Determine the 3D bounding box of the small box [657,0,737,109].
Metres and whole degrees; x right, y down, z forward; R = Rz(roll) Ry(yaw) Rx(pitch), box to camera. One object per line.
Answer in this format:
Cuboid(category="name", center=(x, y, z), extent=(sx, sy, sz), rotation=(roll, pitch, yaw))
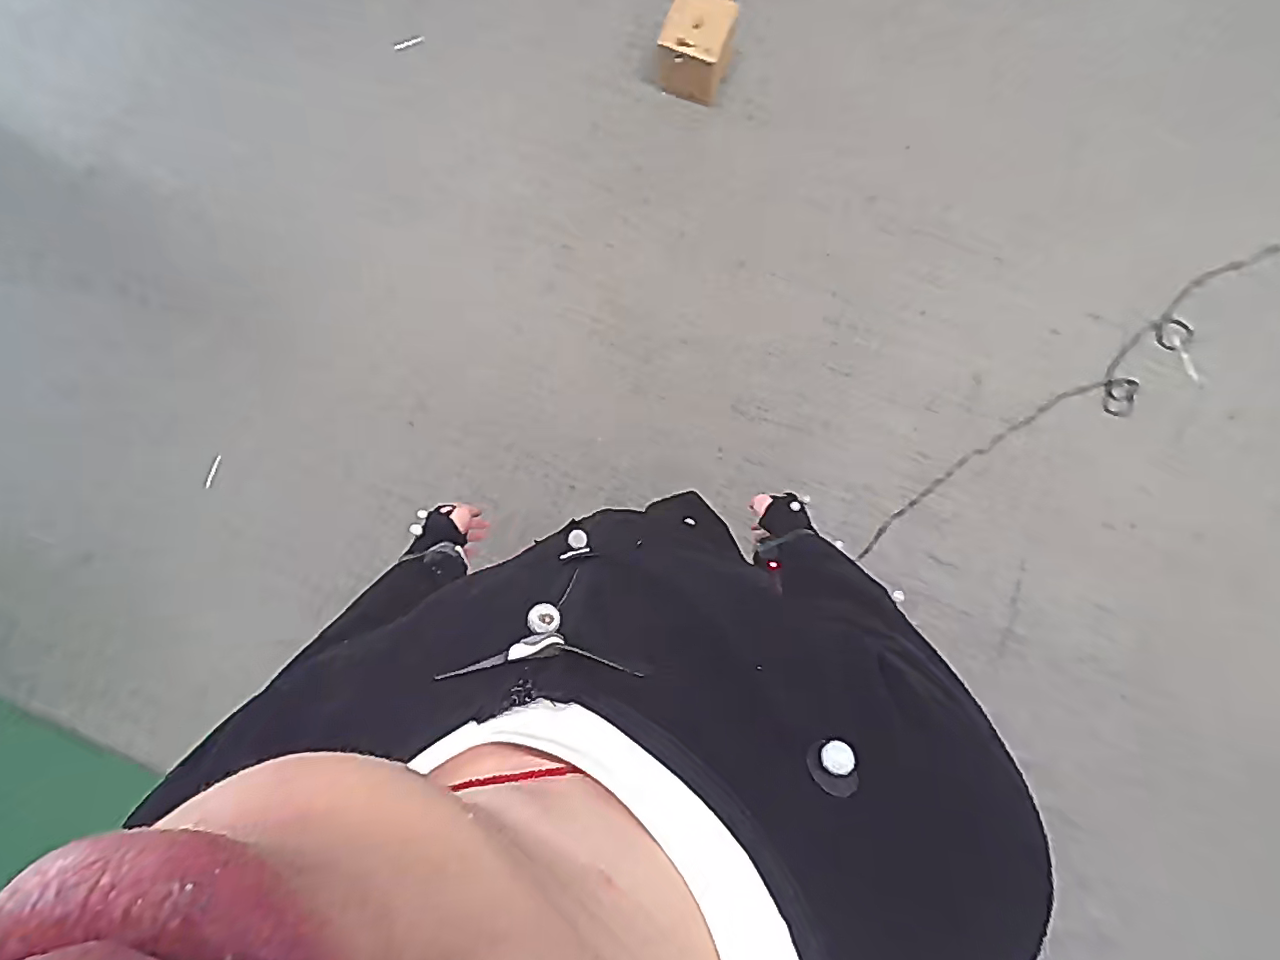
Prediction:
Cuboid(category="small box", center=(0.153, -1.201, 1.514), extent=(0.168, 0.176, 0.179), rotation=(24, 89, 4))
